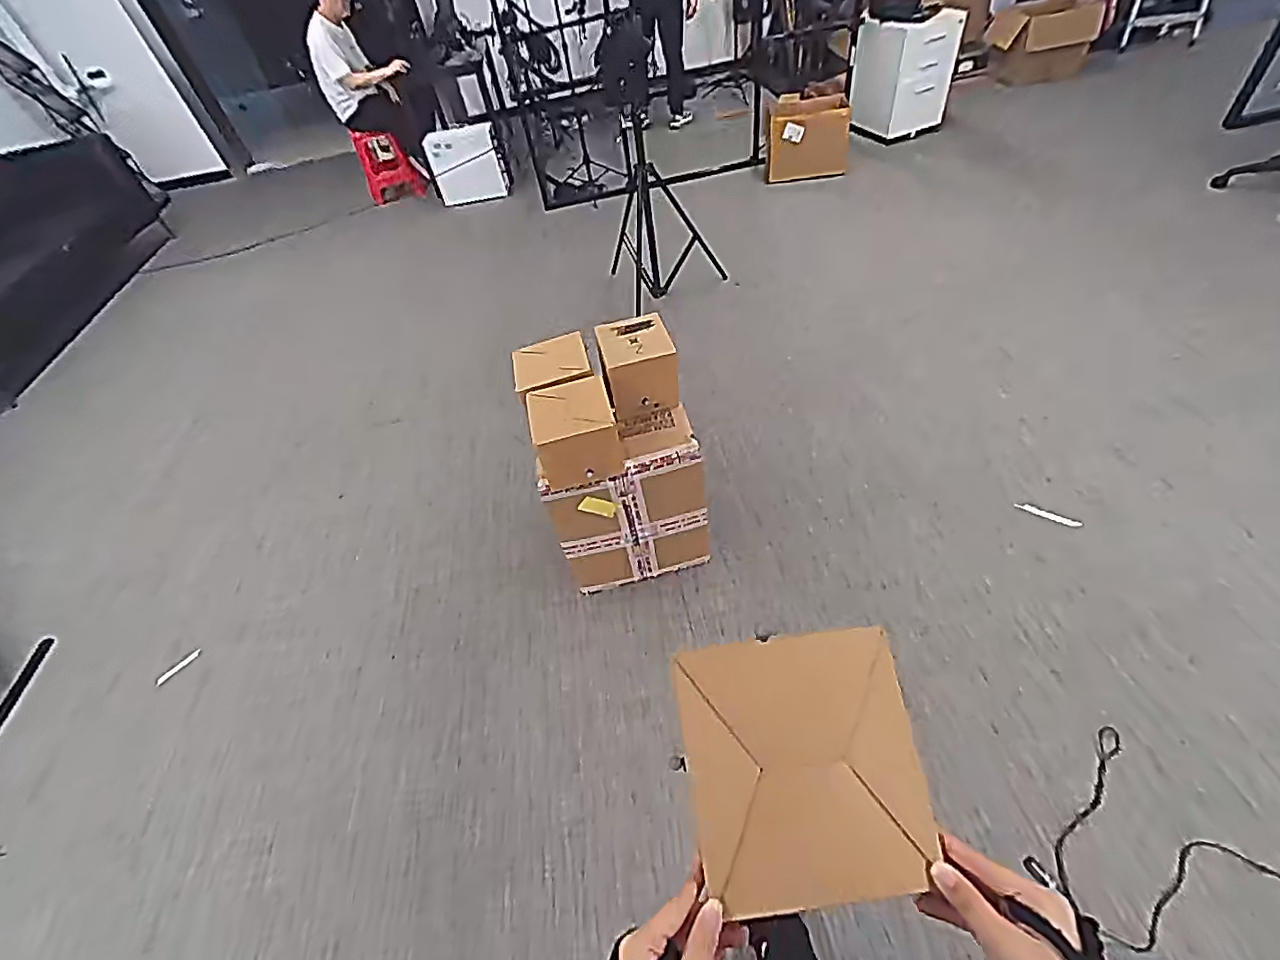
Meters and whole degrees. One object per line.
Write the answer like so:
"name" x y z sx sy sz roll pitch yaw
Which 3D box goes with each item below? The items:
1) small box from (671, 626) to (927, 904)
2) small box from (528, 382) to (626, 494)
"small box" 0.121 0.230 0.475 0.168 0.176 0.179 -8 74 -1
"small box" -0.144 -0.098 1.225 0.179 0.176 0.168 -15 51 -2
